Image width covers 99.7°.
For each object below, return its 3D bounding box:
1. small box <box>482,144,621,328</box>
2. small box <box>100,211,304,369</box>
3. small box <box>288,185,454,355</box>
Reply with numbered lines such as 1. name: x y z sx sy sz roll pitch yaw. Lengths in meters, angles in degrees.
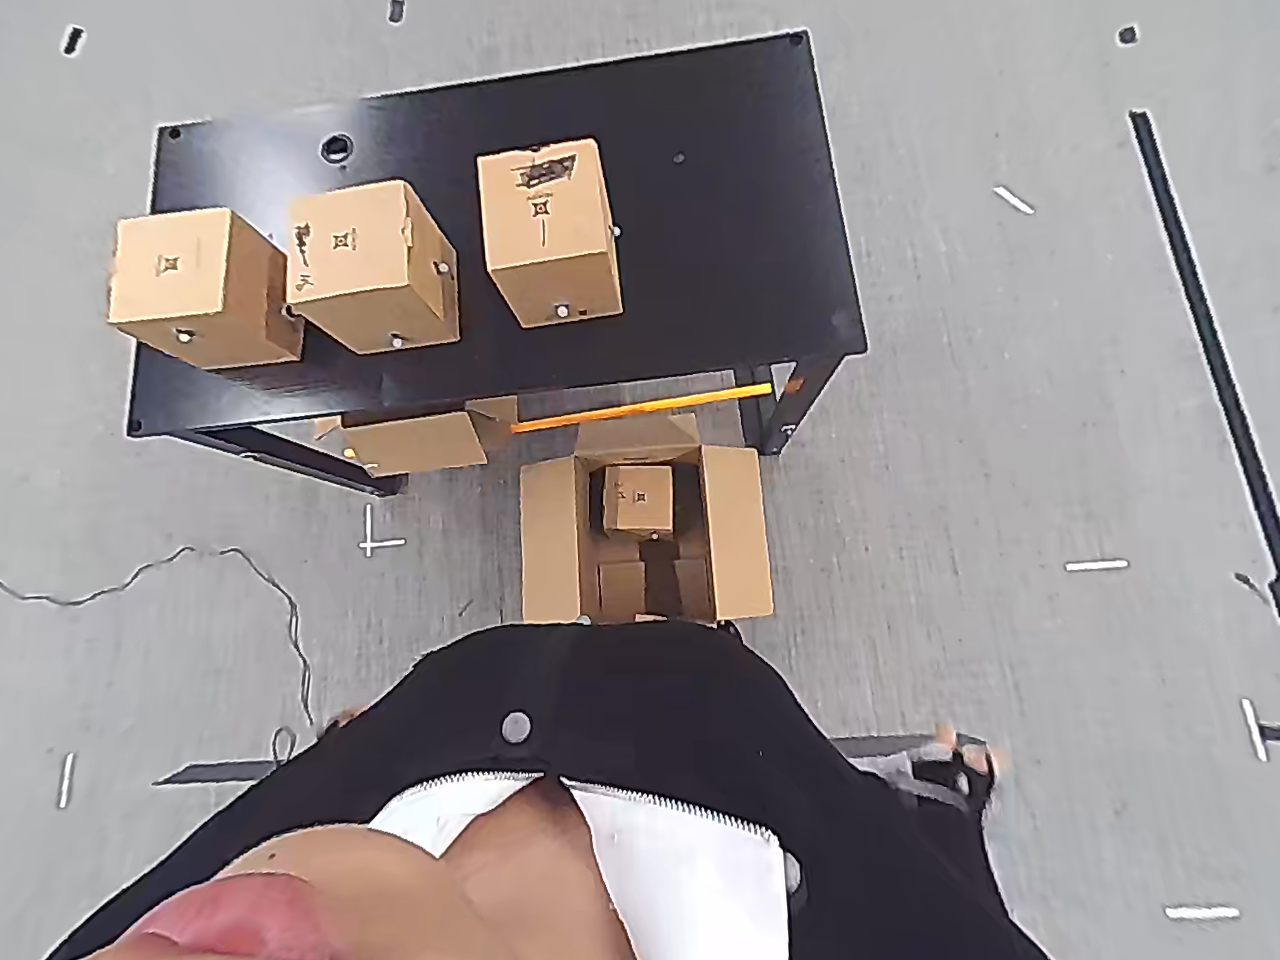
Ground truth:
1. small box: -0.124 -0.351 0.803 0.168 0.176 0.179 -8 79 3
2. small box: -0.653 -0.280 0.831 0.179 0.176 0.168 -4 79 3
3. small box: -0.392 -0.306 0.816 0.179 0.176 0.168 -7 78 2
